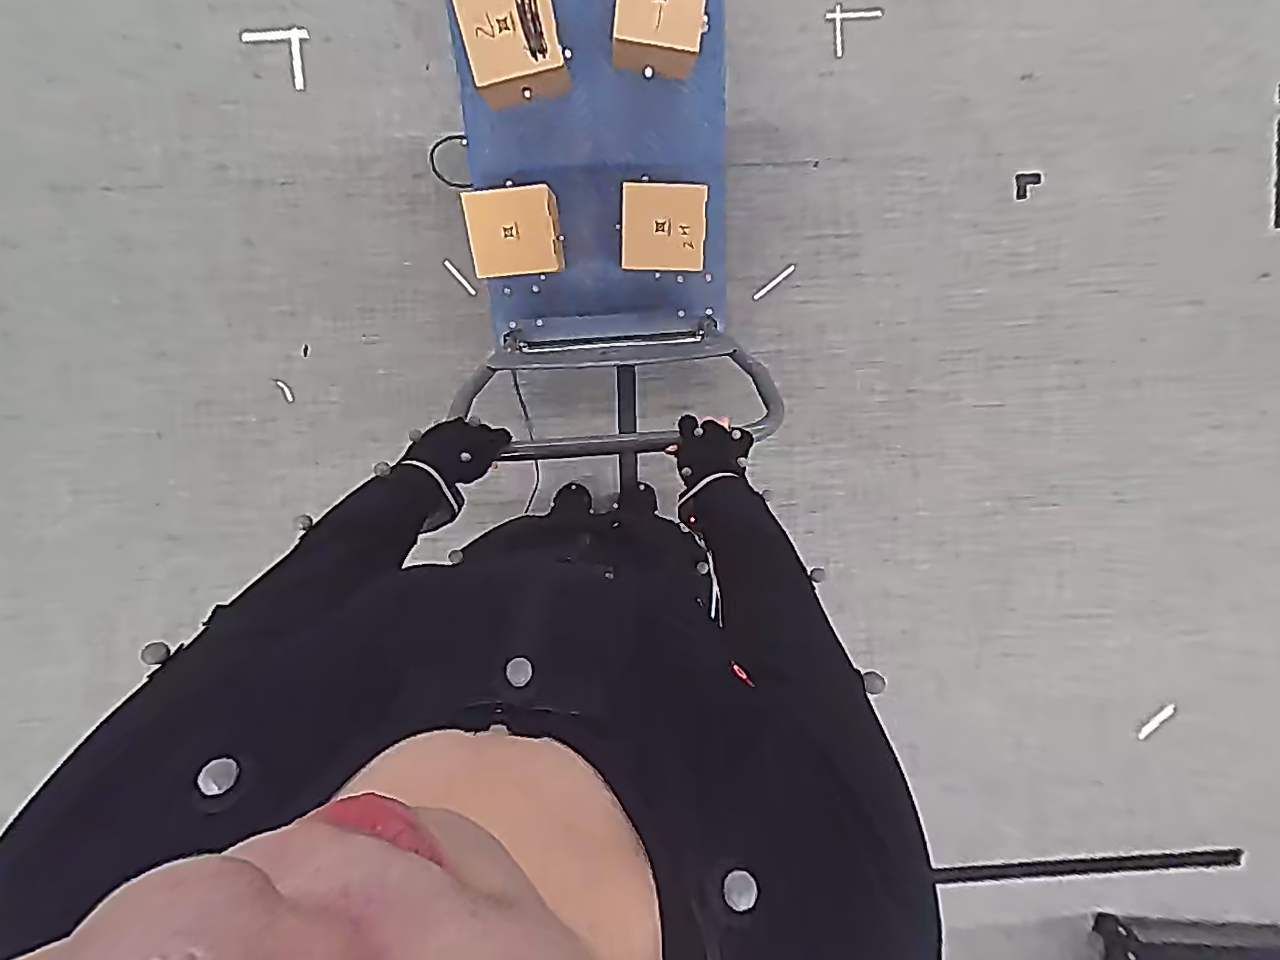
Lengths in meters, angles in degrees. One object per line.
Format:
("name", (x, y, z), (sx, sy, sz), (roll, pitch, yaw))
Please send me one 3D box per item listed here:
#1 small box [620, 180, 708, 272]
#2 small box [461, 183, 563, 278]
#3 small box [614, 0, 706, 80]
("small box", (0.046, -0.553, 1.195), (0.179, 0.176, 0.168), (1, 111, -3))
("small box", (-0.271, -0.539, 1.186), (0.179, 0.176, 0.168), (-7, 110, -2))
("small box", (0.038, -0.925, 1.057), (0.168, 0.176, 0.179), (6, 111, -5))
